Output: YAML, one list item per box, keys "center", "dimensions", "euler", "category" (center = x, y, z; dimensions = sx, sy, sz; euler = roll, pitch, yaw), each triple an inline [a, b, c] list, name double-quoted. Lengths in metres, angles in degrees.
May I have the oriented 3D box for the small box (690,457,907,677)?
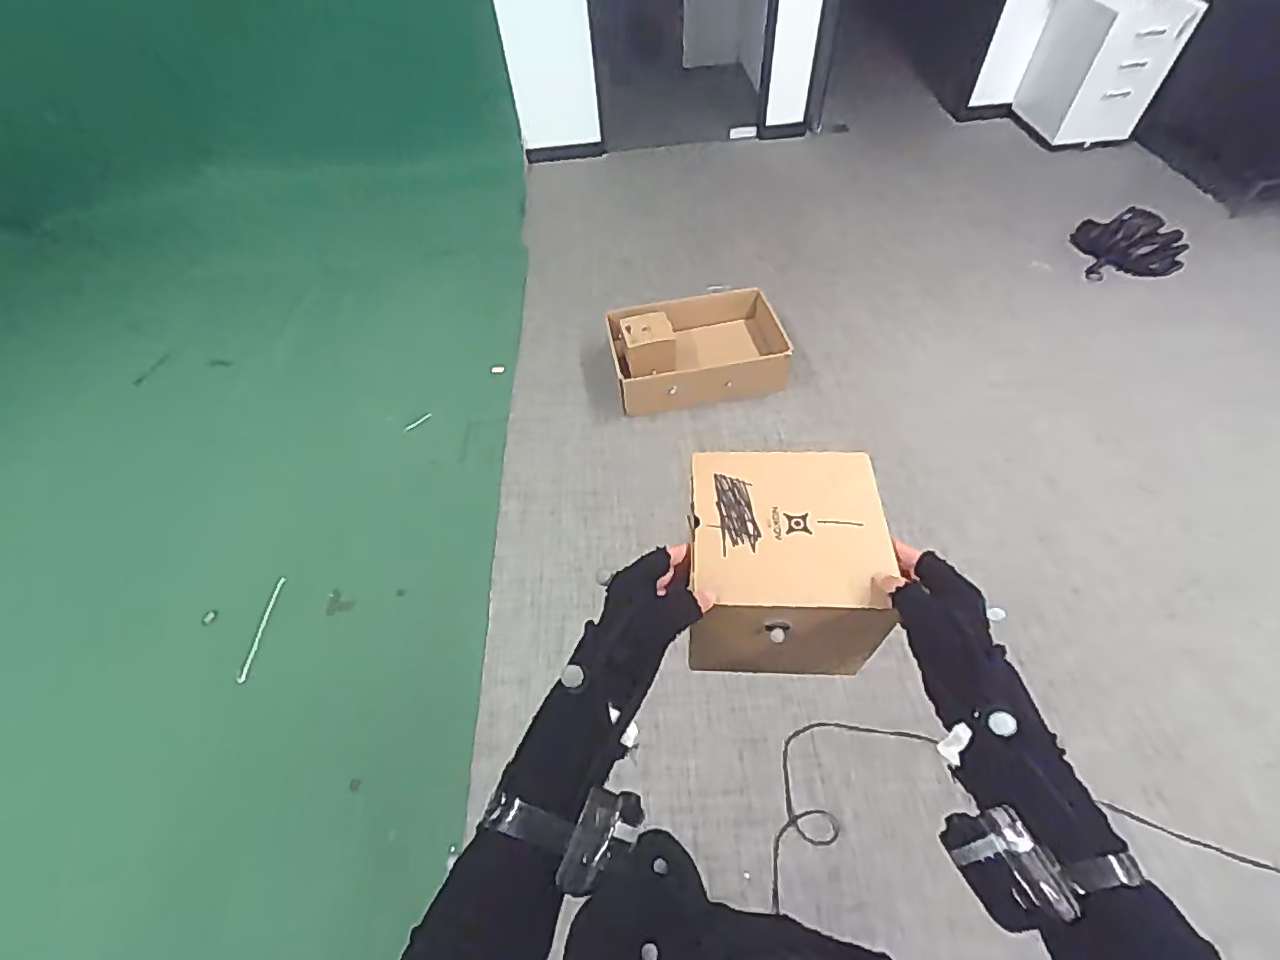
- center: [0.140, 0.093, 0.553]
  dimensions: [0.179, 0.176, 0.168]
  euler: [1, 53, 4]
  category: "small box"

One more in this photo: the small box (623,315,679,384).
- center: [0.038, -0.479, 1.995]
  dimensions: [0.179, 0.176, 0.168]
  euler: [-11, 52, -6]
  category: "small box"
